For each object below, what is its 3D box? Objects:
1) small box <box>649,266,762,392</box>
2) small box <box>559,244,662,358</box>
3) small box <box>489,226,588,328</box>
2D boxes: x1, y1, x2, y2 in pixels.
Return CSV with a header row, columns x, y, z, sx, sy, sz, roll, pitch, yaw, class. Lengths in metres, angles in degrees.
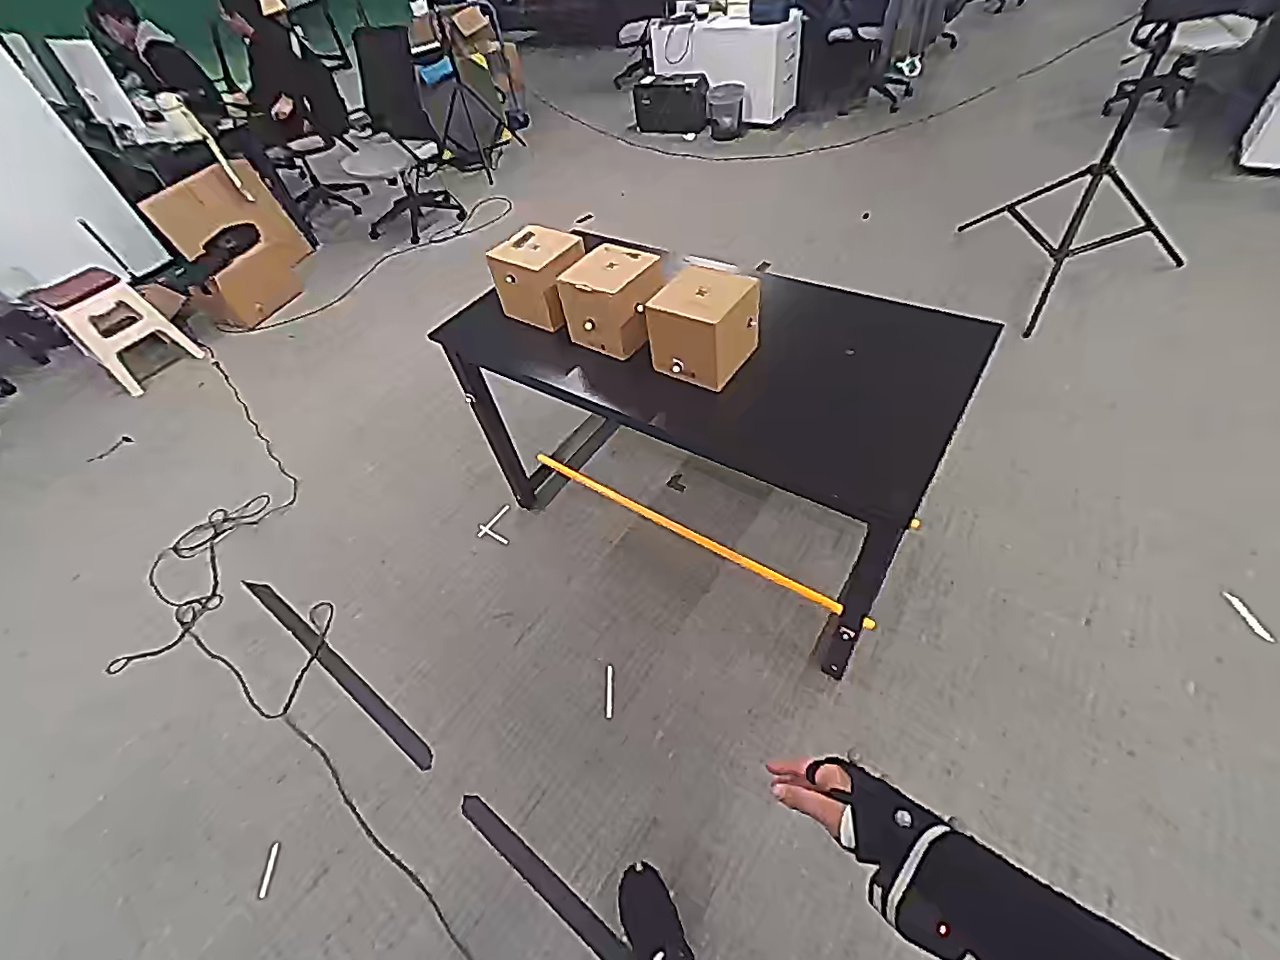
x,y,z,sx,sy,sz,roll,pitch,yaw,class
0.140,-0.317,1.135,0.168,0.176,0.179,24,58,27,small box
-0.055,-0.408,1.240,0.168,0.176,0.179,26,59,26,small box
-0.237,-0.503,1.348,0.179,0.176,0.168,26,59,26,small box
